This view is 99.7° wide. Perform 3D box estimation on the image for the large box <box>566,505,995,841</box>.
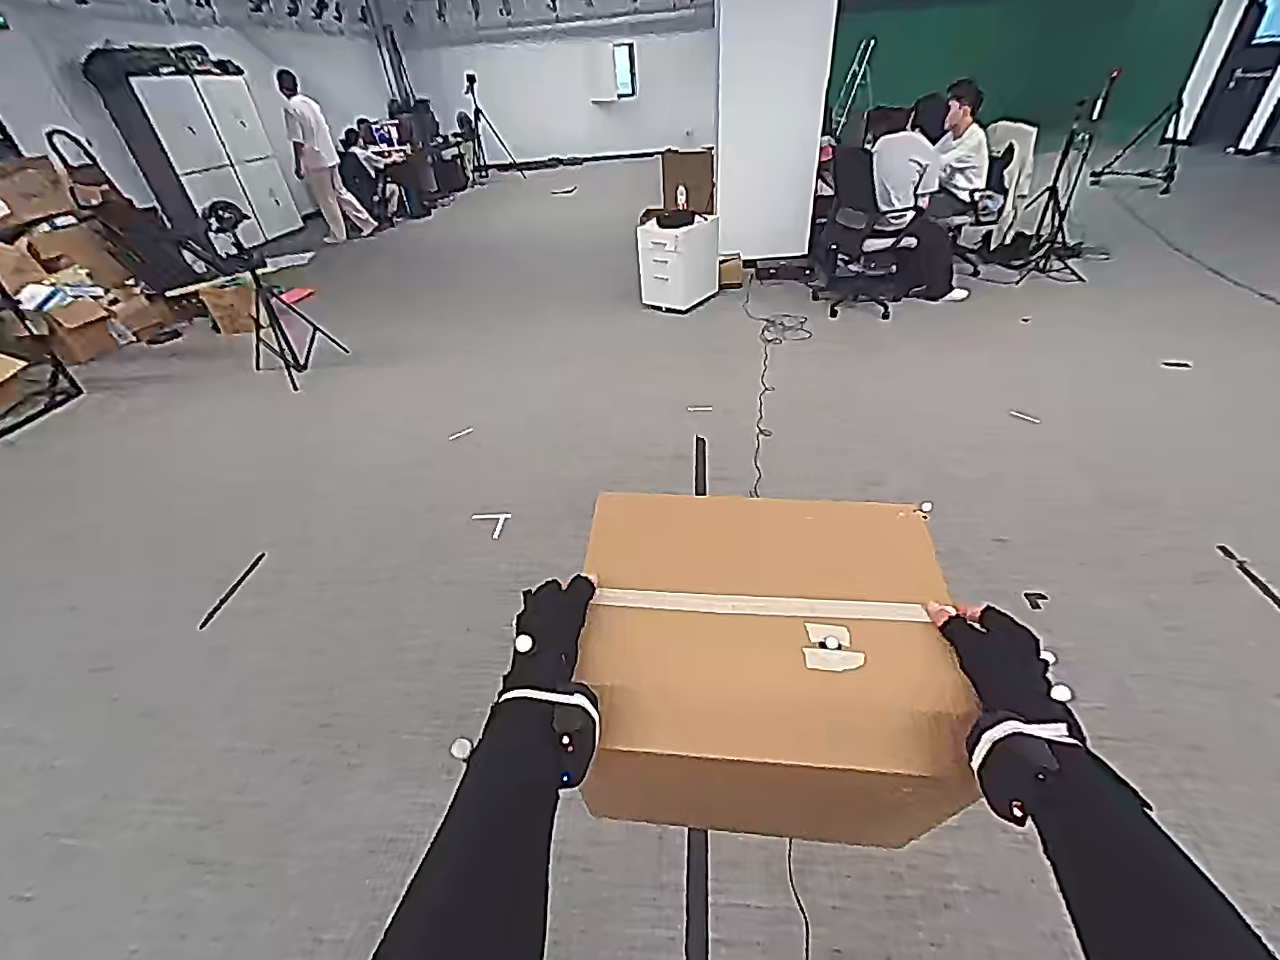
[{"bbox_3d":[0.140,0.251,0.709,0.408,0.320,0.320,2,48,5],"label":"large box"}]
